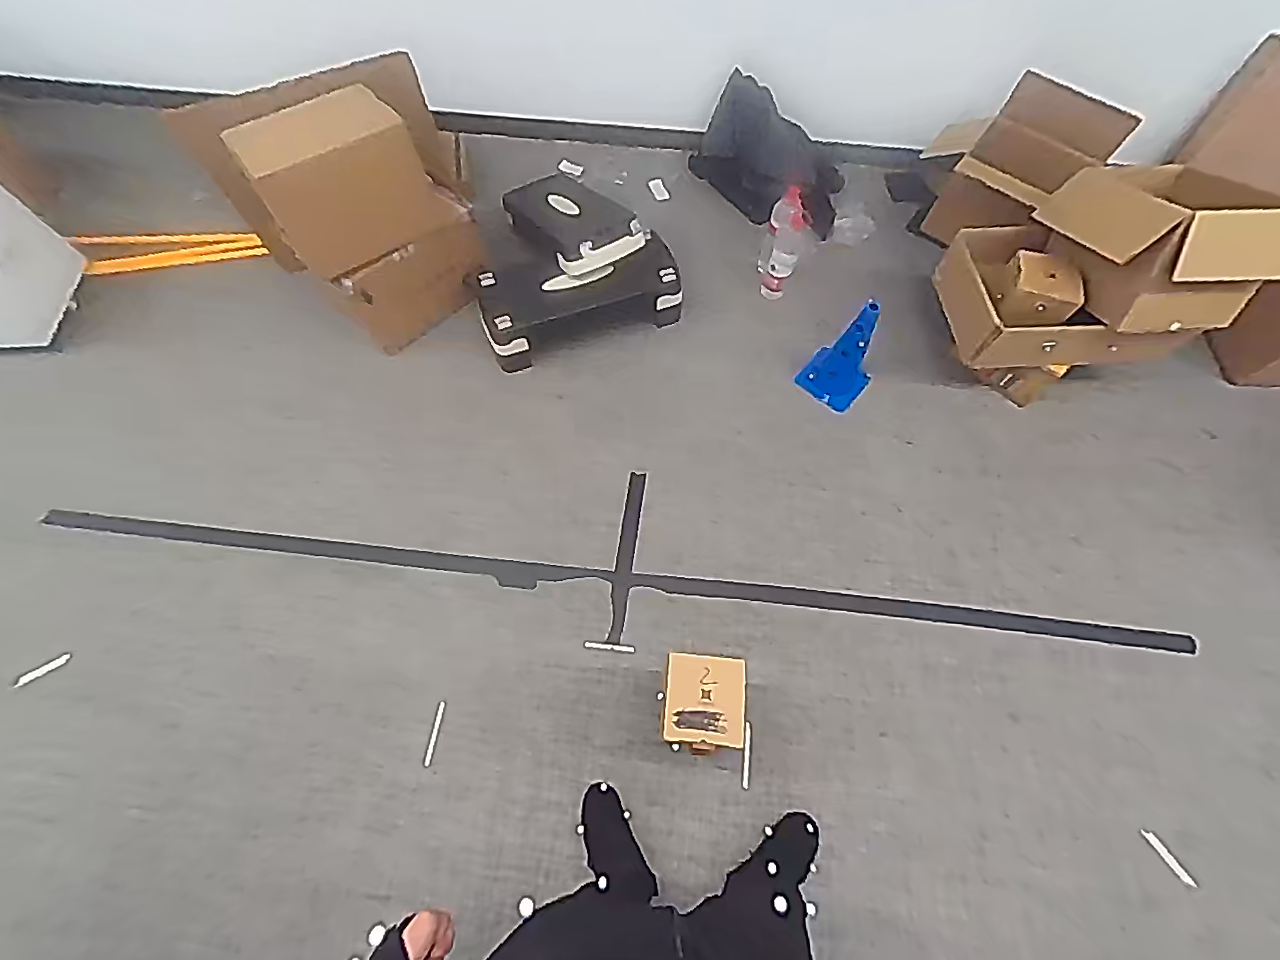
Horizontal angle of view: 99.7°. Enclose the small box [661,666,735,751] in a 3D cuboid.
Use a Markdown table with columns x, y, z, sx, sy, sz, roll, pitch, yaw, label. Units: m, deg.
| x | y | z | sx | sy | sz | roll | pitch | yaw | label |
| --- | --- | --- | --- | --- | --- | --- | --- | --- | --- |
| 0.141 | 0.569 | 1.345 | 0.168 | 0.176 | 0.179 | 4 | 66 | 2 | small box |
